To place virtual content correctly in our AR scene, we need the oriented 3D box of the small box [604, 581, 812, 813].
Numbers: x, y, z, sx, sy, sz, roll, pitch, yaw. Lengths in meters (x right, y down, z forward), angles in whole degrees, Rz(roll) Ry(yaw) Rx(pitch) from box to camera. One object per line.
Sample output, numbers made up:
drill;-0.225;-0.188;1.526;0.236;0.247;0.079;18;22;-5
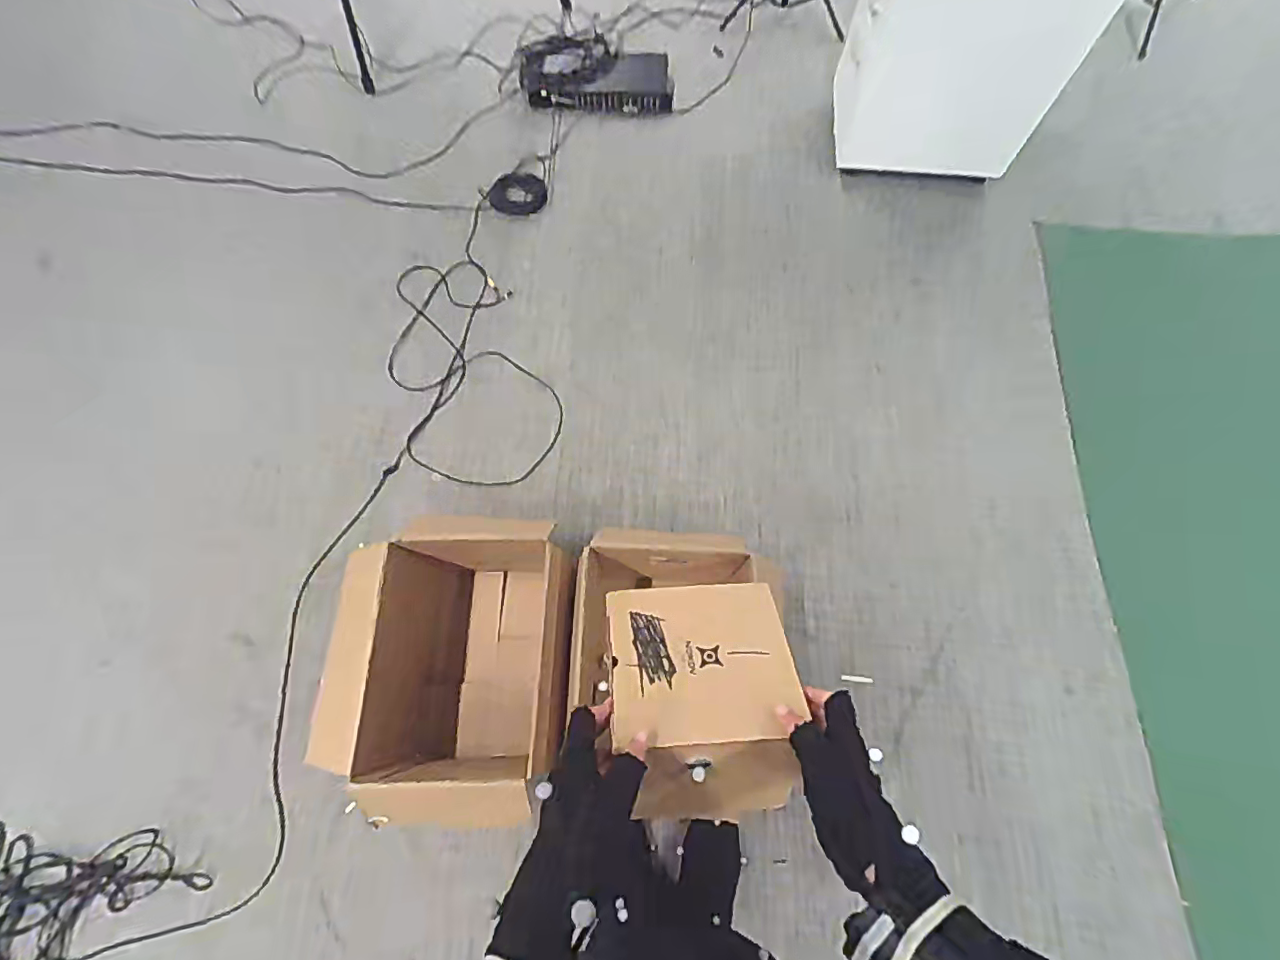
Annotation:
small box;0.055;0.225;0.562;0.179;0.176;0.168;-2;41;-4
